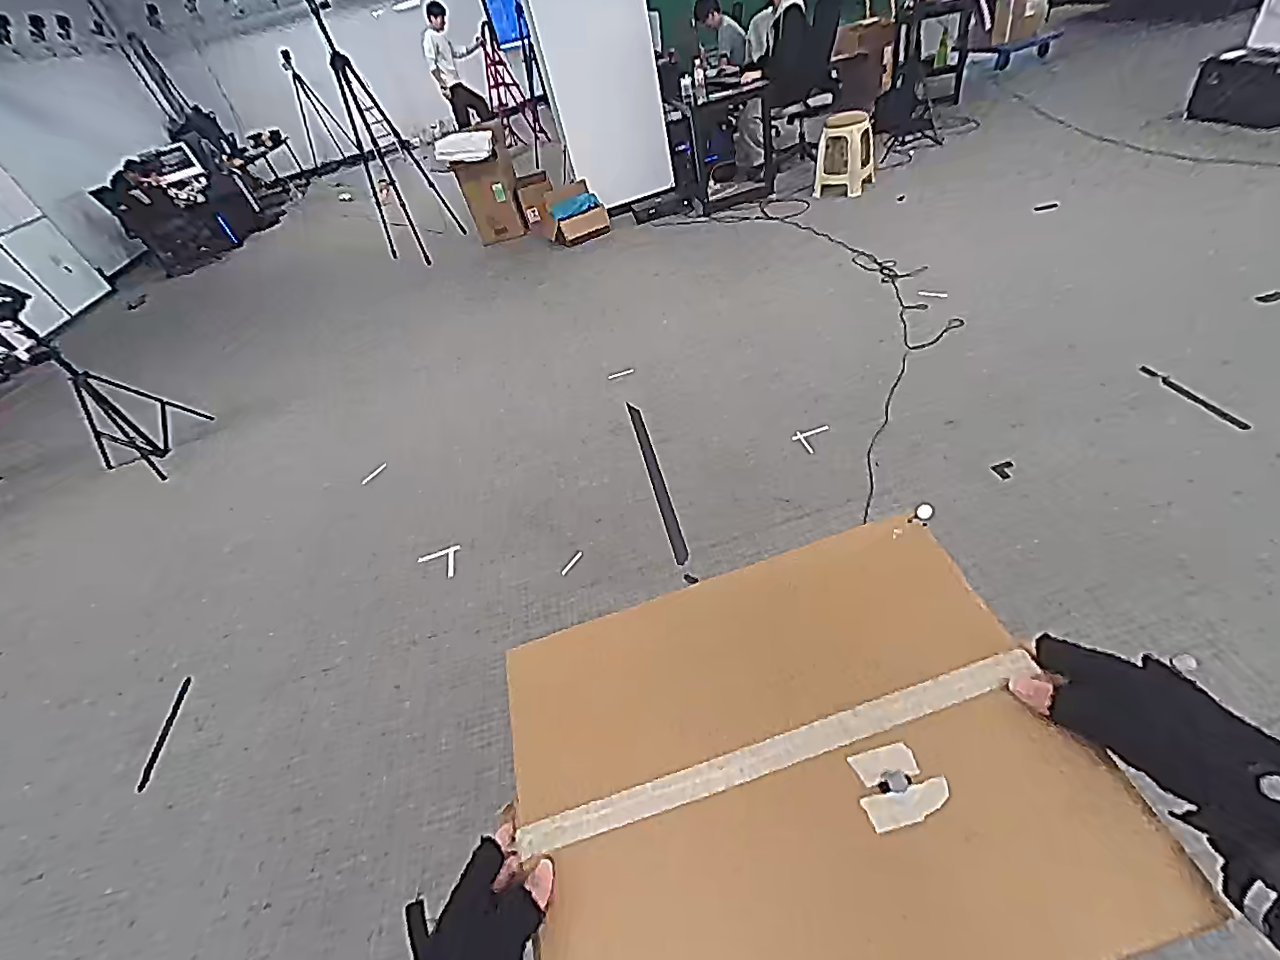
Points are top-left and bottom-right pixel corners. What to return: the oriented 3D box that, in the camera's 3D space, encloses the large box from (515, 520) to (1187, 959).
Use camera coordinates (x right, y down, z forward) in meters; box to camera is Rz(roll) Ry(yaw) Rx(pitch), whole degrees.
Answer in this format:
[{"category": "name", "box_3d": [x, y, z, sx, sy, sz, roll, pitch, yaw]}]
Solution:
[{"category": "large box", "box_3d": [0.136, 0.306, 0.528, 0.408, 0.320, 0.320, -20, 49, -1]}]
